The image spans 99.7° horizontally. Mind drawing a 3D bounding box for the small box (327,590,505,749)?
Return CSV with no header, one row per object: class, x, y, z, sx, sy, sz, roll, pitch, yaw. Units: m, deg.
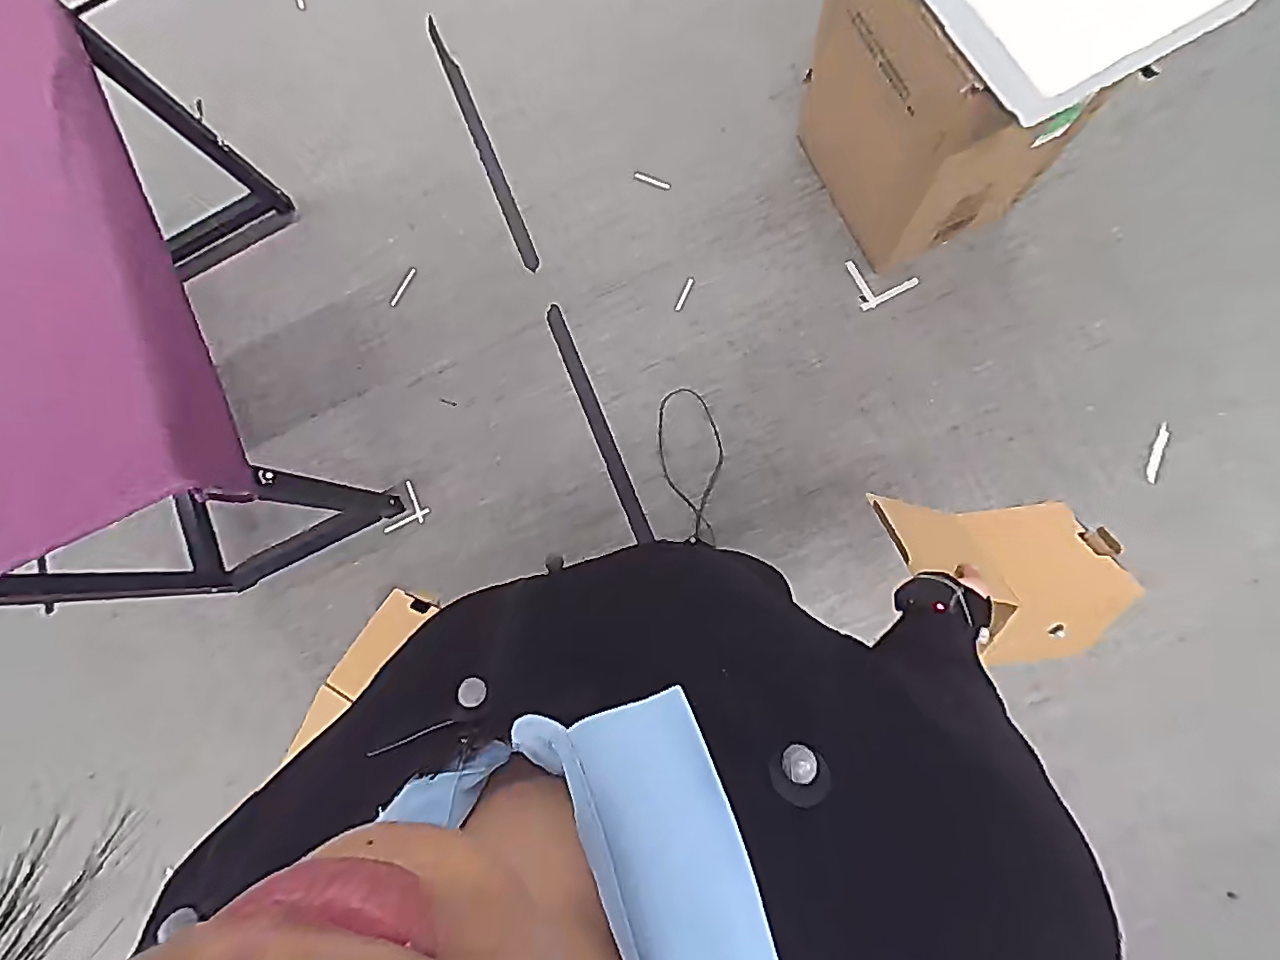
small box,-0.357,0.313,0.892,0.168,0.176,0.179,9,56,33
